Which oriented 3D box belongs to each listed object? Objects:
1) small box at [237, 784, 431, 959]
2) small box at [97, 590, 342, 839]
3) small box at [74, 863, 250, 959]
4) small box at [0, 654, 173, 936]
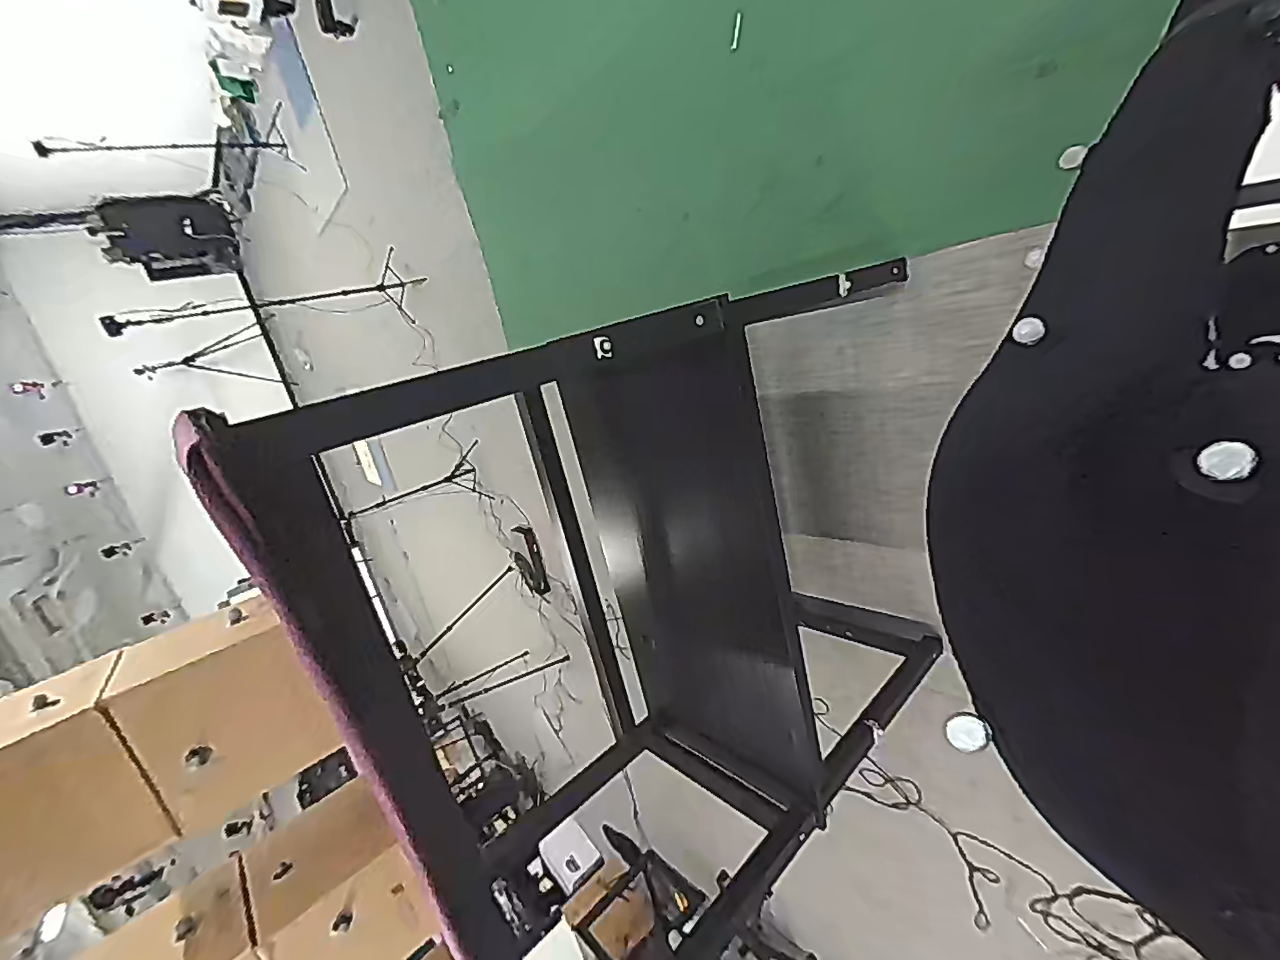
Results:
[{"bbox_3d":[-0.397,0.551,0.716,0.179,0.176,0.168,8,115,50],"label":"small box"},{"bbox_3d":[-0.478,0.258,0.641,0.168,0.176,0.179,6,114,53],"label":"small box"},{"bbox_3d":[-0.519,0.606,0.620,0.168,0.176,0.179,7,115,49],"label":"small box"},{"bbox_3d":[-0.603,0.315,0.555,0.168,0.176,0.179,6,115,52],"label":"small box"}]
